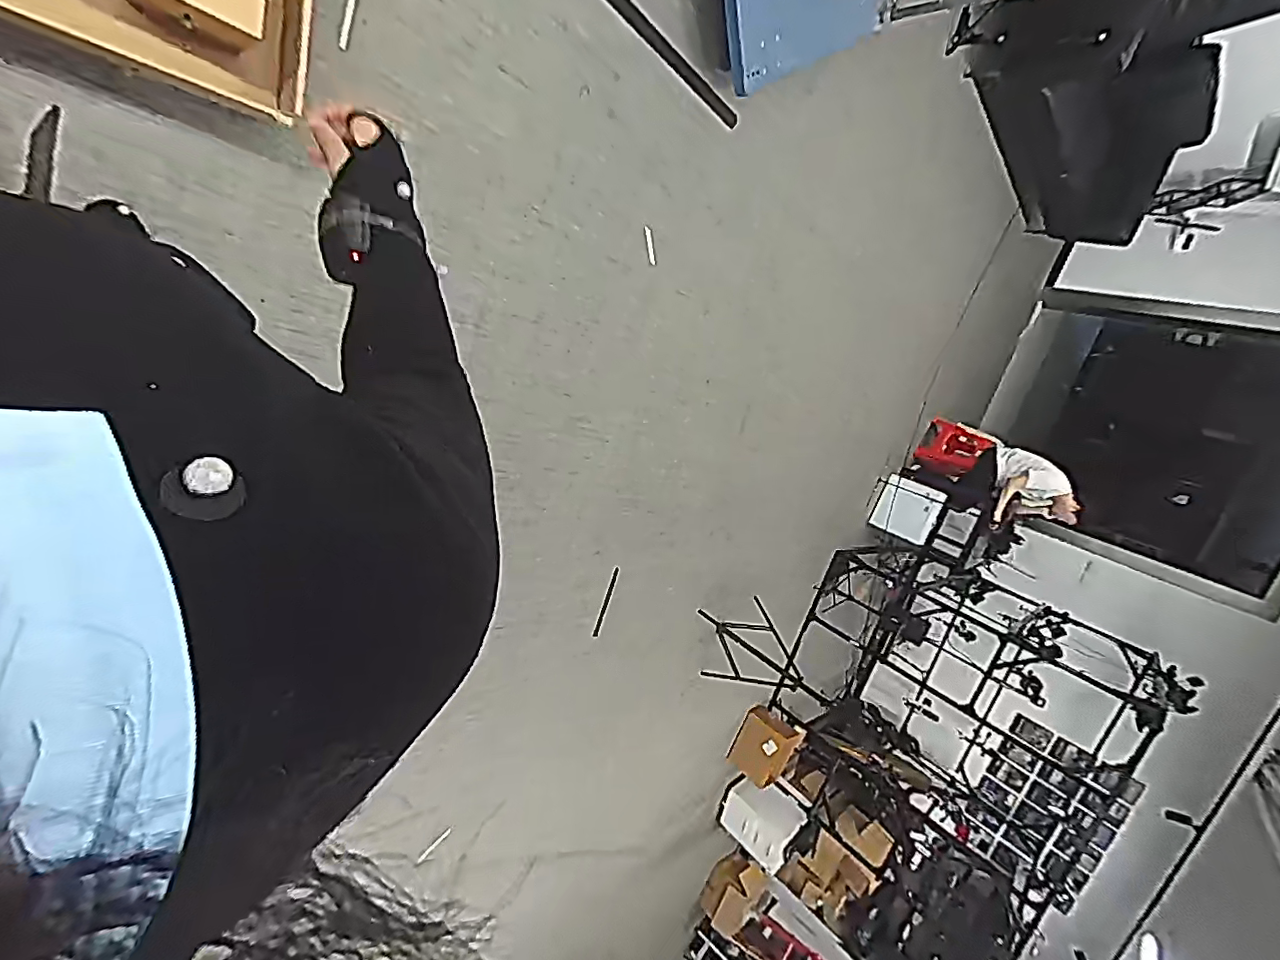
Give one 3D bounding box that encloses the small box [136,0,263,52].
[{"bbox_3d":[-0.727,-0.847,0.884,0.168,0.176,0.179,2,110,-47],"label":"small box"}]
